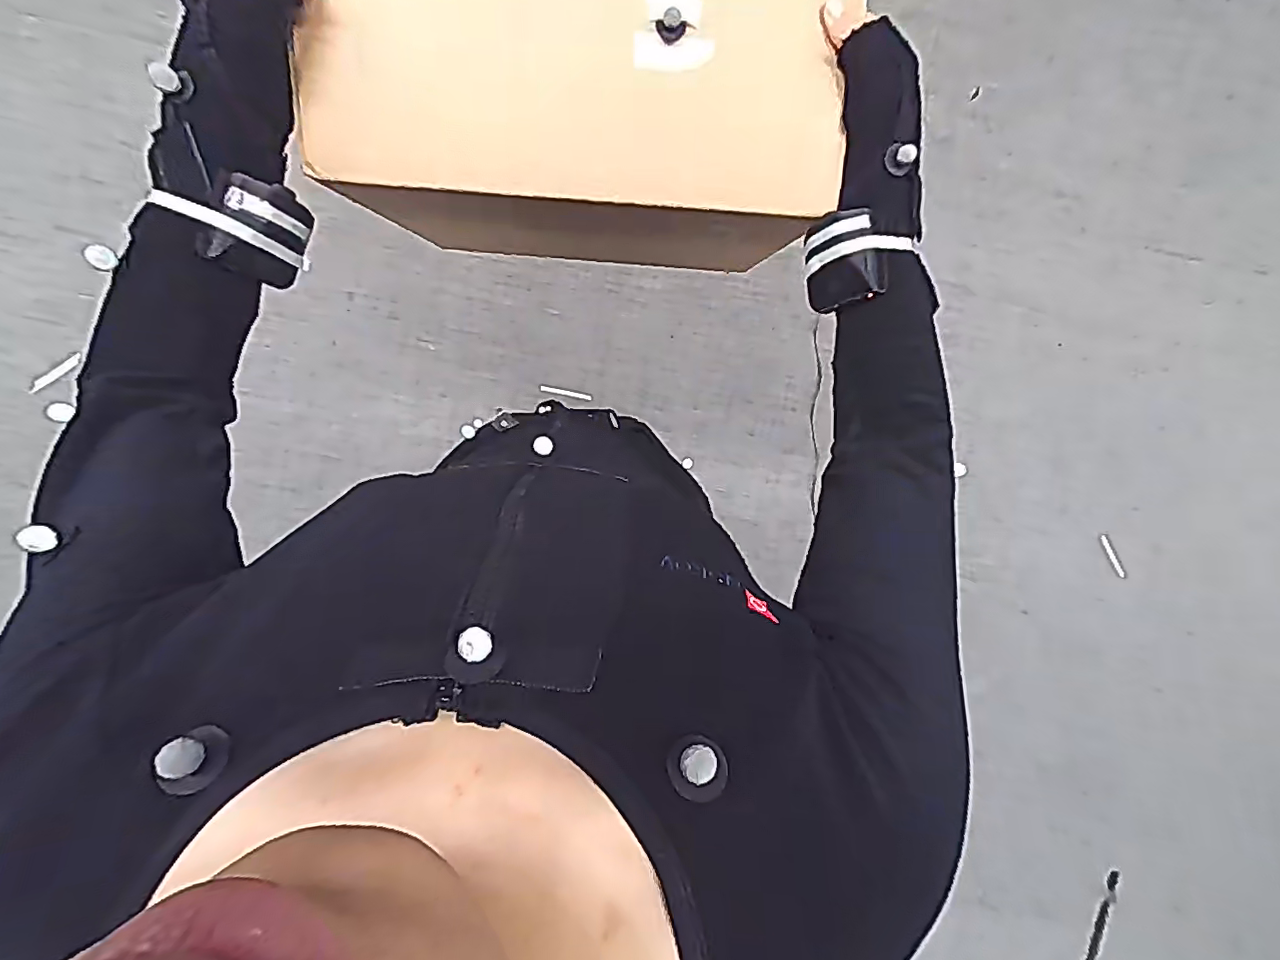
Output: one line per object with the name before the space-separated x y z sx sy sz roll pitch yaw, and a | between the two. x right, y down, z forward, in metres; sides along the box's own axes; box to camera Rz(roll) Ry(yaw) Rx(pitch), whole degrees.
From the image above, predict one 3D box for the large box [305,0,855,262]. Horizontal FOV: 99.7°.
large box | -0.045 -0.409 0.529 0.408 0.320 0.320 3 104 -3
